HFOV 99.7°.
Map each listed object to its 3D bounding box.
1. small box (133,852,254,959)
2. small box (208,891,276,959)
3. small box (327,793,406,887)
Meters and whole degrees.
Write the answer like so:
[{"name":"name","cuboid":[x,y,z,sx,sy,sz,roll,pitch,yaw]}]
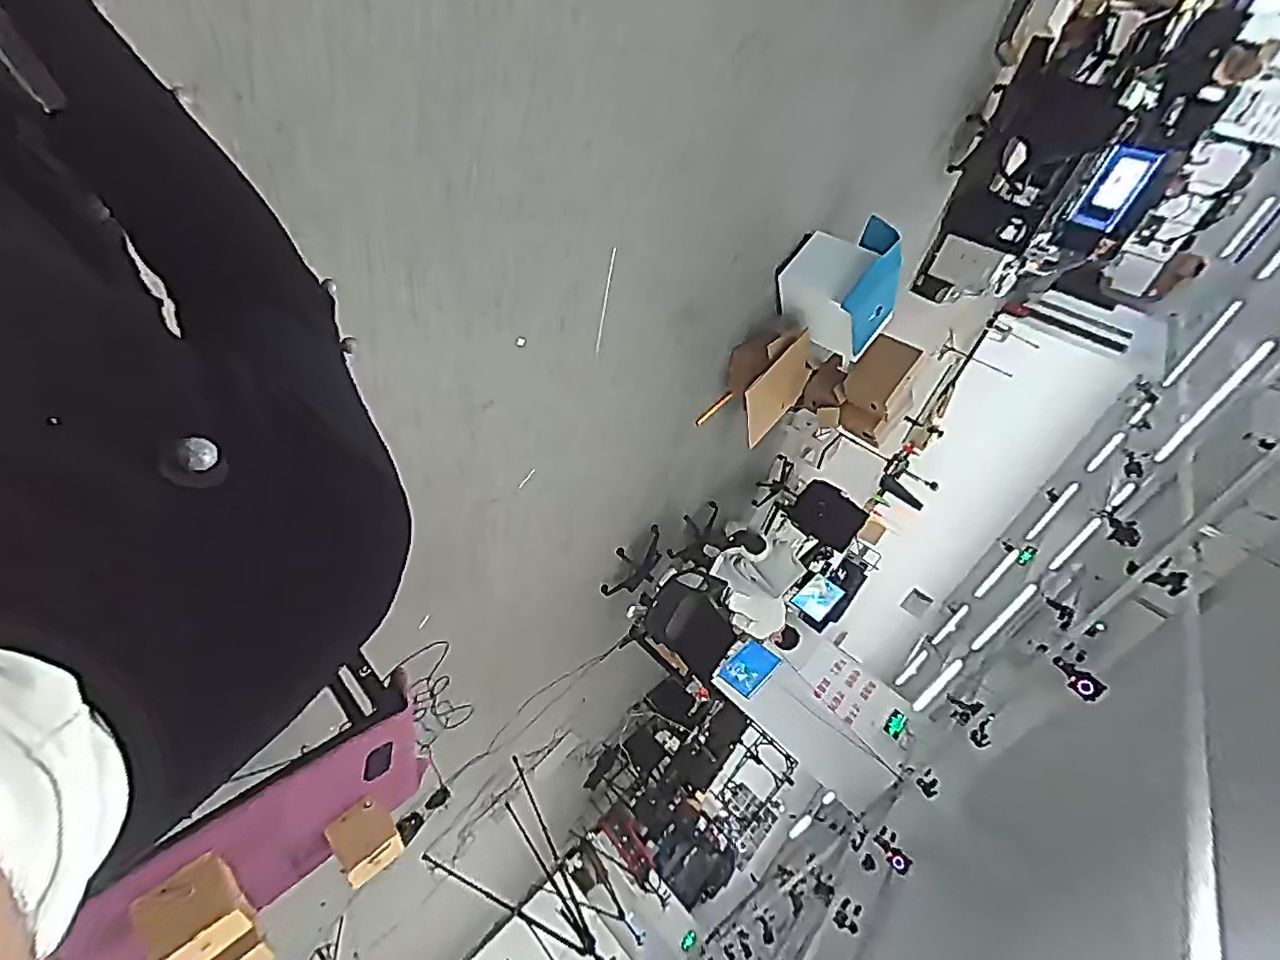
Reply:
[{"name":"small box","cuboid":[-1.082,1.055,1.316,0.168,0.176,0.179,-27,144,-40]},{"name":"small box","cuboid":[-1.151,1.301,1.505,0.168,0.176,0.179,-27,143,-42]},{"name":"small box","cuboid":[-0.882,1.152,1.744,0.168,0.176,0.179,-28,145,-38]}]
